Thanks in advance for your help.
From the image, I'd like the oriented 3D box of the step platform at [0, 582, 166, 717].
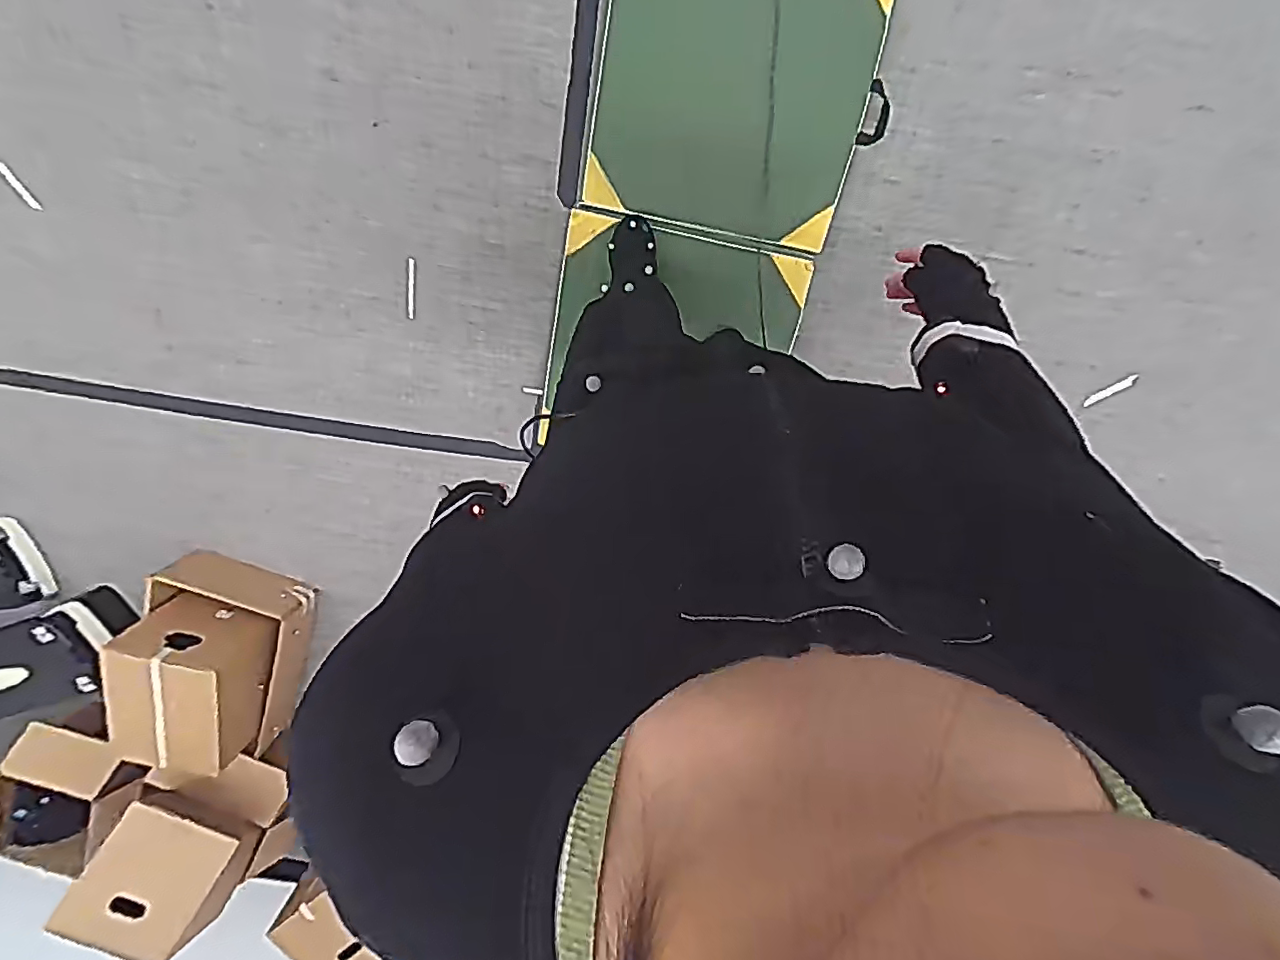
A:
[{"bbox_3d":[-1.994,0.582,1.799,0.684,0.204,0.286,-18,109,8],"label":"step platform"}]
